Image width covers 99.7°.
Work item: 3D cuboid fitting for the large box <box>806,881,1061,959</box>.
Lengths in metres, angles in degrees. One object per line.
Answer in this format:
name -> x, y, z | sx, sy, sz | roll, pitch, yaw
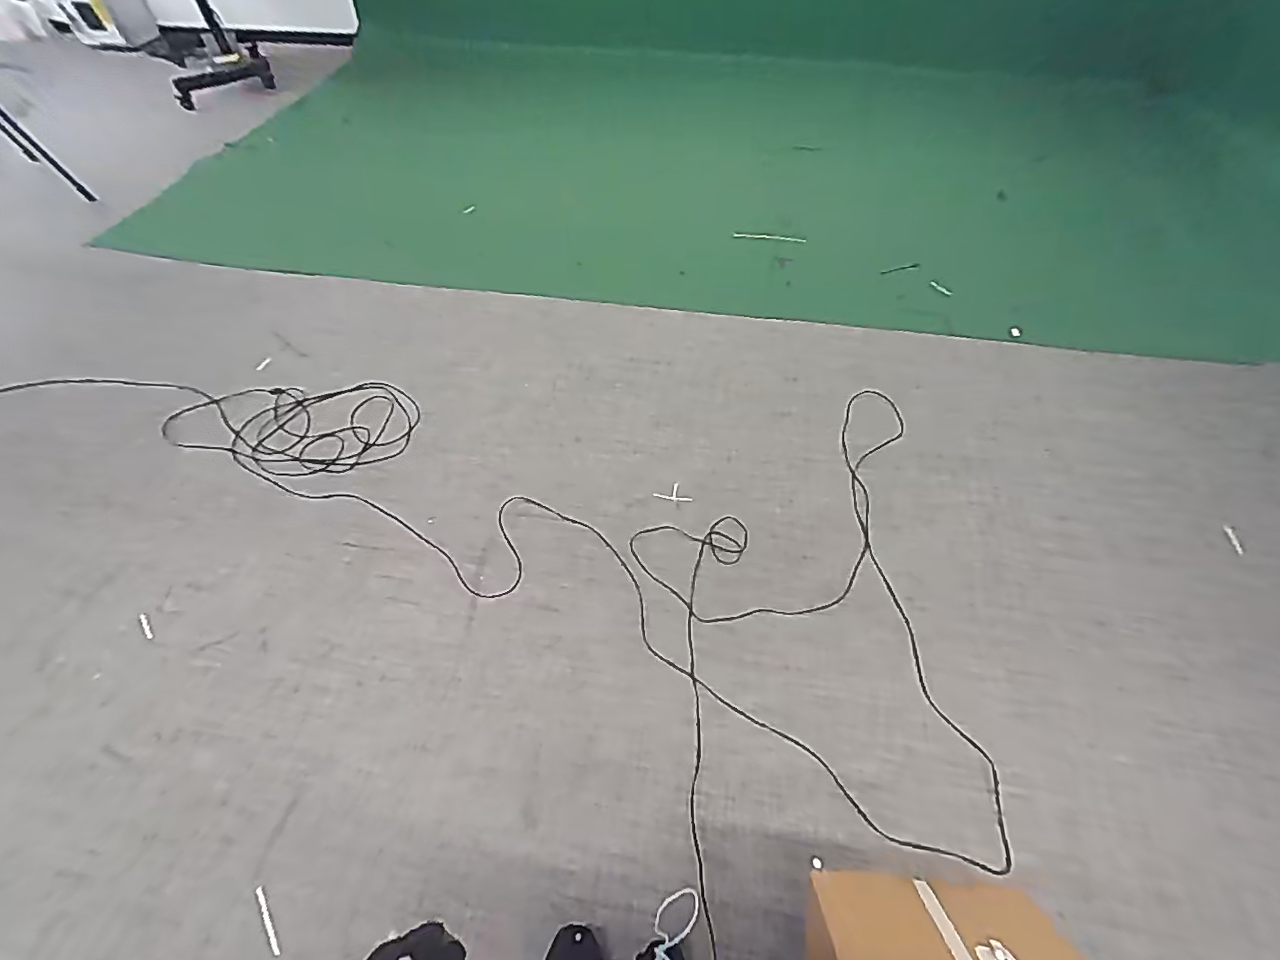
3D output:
large box -> 0.388, 0.773, 0.620 | 0.320, 0.408, 0.320 | 4, 91, 5
